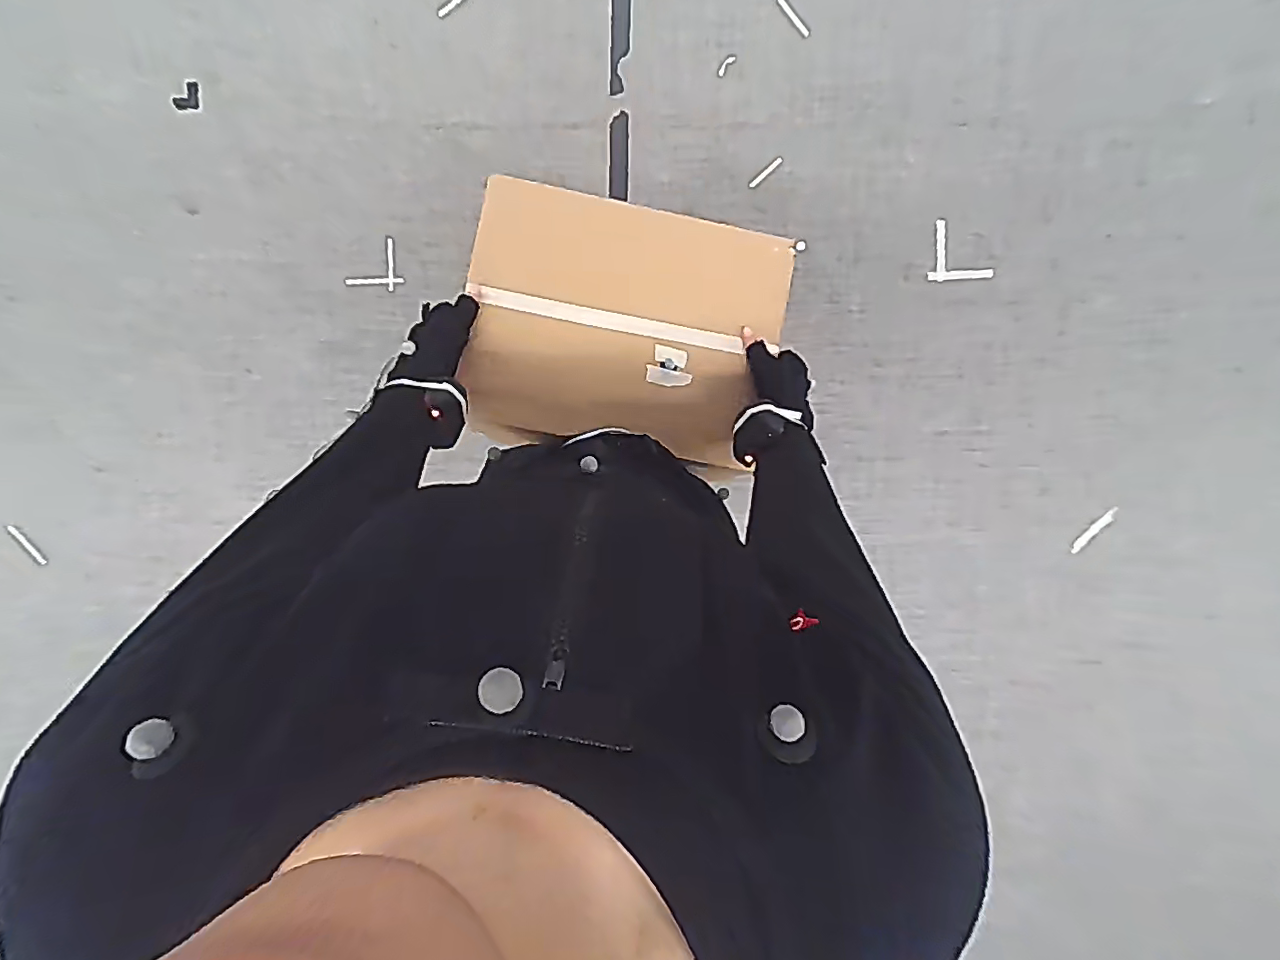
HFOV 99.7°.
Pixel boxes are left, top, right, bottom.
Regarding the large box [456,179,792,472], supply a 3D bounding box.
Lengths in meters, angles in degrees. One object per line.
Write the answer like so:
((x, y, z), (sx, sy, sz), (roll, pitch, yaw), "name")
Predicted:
((-0.029, -0.202, 0.852), (0.408, 0.320, 0.320), (11, 88, -4), "large box")
